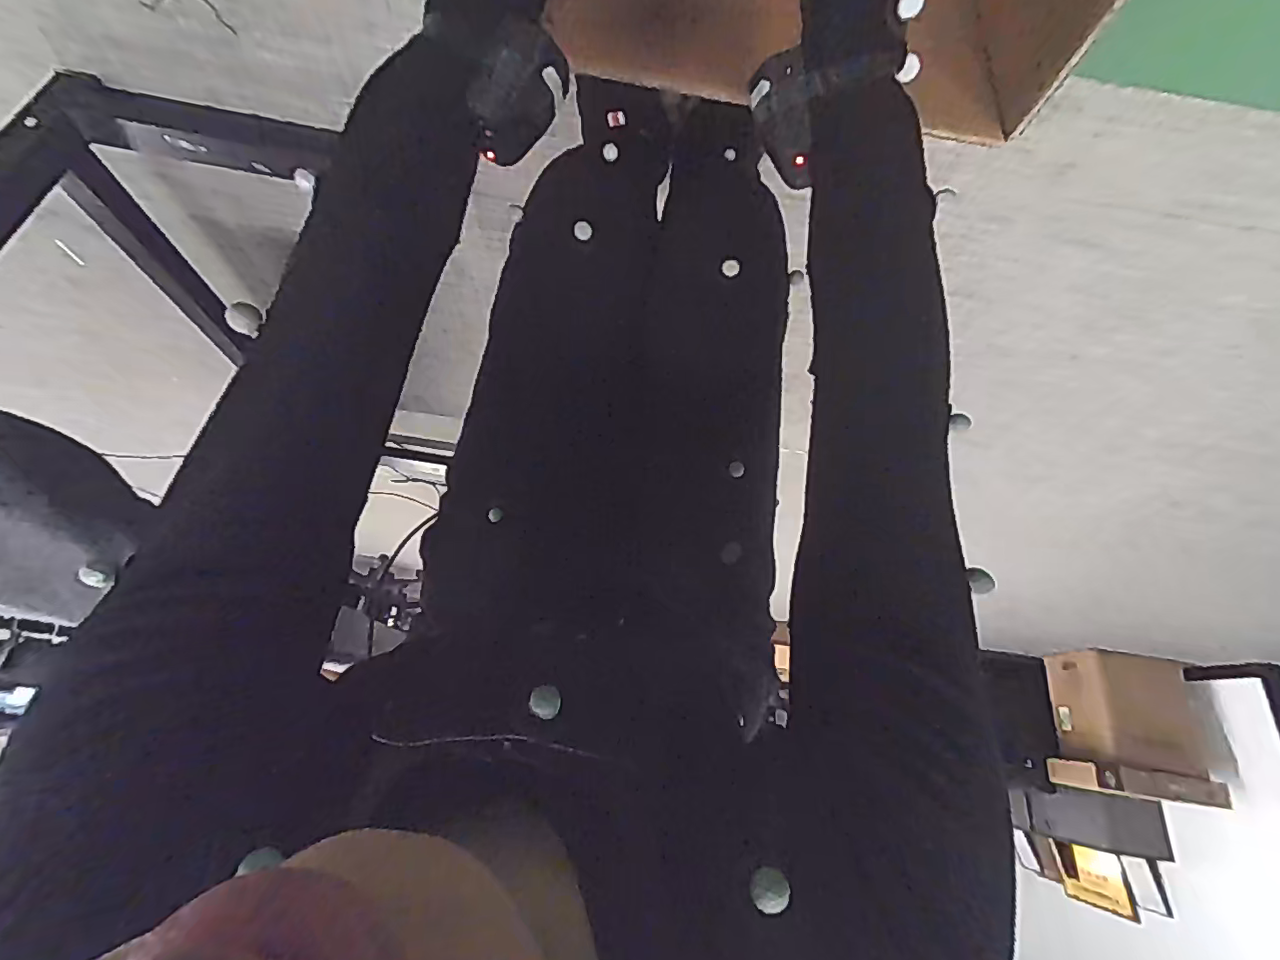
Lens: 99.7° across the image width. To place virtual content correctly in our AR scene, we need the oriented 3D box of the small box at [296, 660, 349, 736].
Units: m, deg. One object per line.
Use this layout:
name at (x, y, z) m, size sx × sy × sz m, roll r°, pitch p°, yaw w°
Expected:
small box at (-0.848, 0.525, 1.333) m, size 0.179 × 0.176 × 0.168 m, roll 9°, pitch 156°, yaw -1°
